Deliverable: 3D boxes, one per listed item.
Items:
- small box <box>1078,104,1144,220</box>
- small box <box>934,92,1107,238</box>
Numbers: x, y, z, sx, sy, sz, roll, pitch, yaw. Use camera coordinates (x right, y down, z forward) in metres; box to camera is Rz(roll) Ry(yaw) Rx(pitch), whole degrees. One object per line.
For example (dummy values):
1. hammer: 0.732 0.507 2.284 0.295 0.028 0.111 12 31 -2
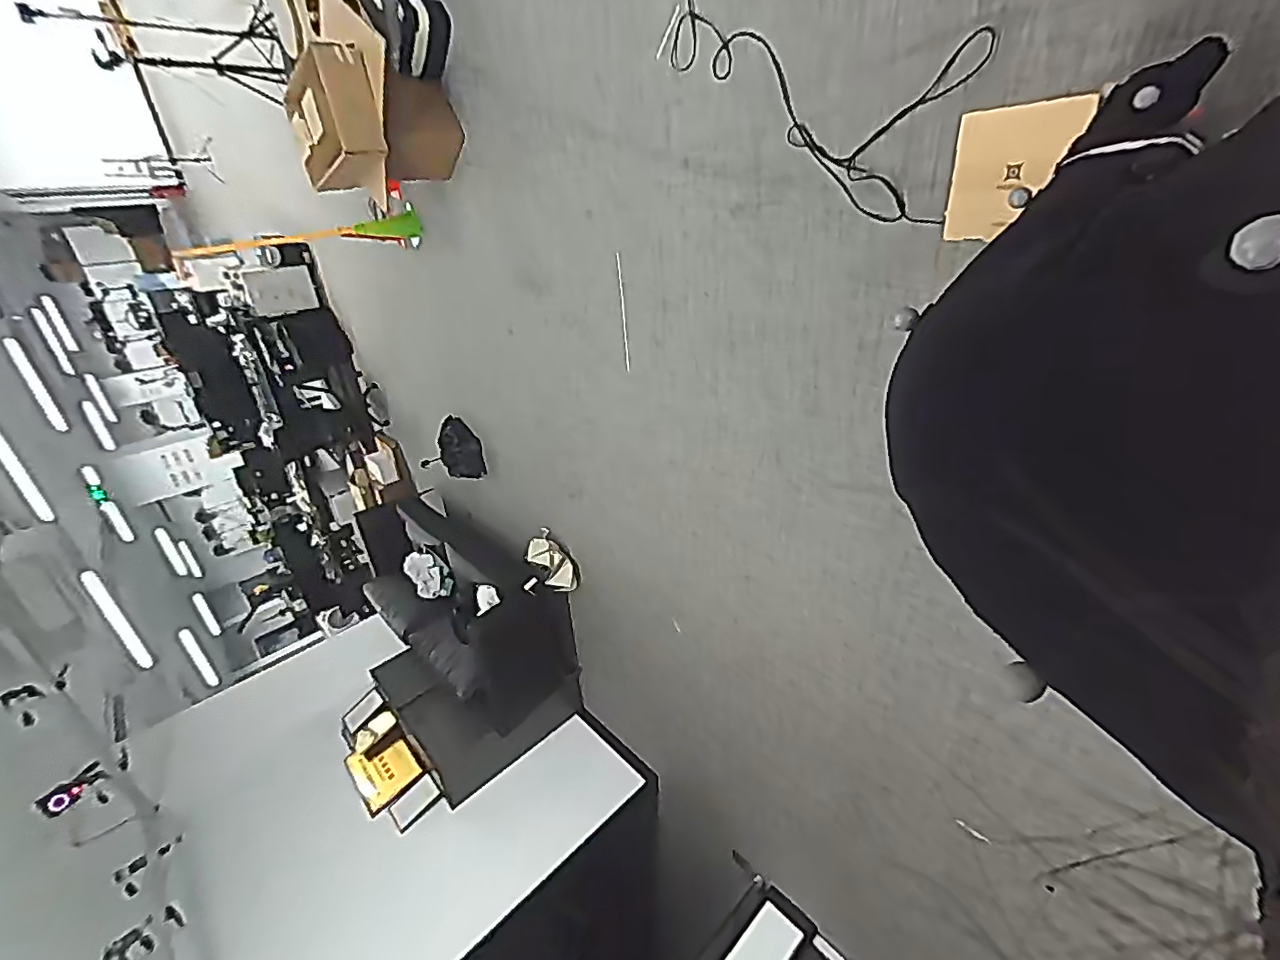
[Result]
1. small box: 0.820 -0.602 1.032 0.168 0.176 0.179 26 131 40
2. small box: 0.586 -0.480 0.836 0.168 0.176 0.179 23 130 41
